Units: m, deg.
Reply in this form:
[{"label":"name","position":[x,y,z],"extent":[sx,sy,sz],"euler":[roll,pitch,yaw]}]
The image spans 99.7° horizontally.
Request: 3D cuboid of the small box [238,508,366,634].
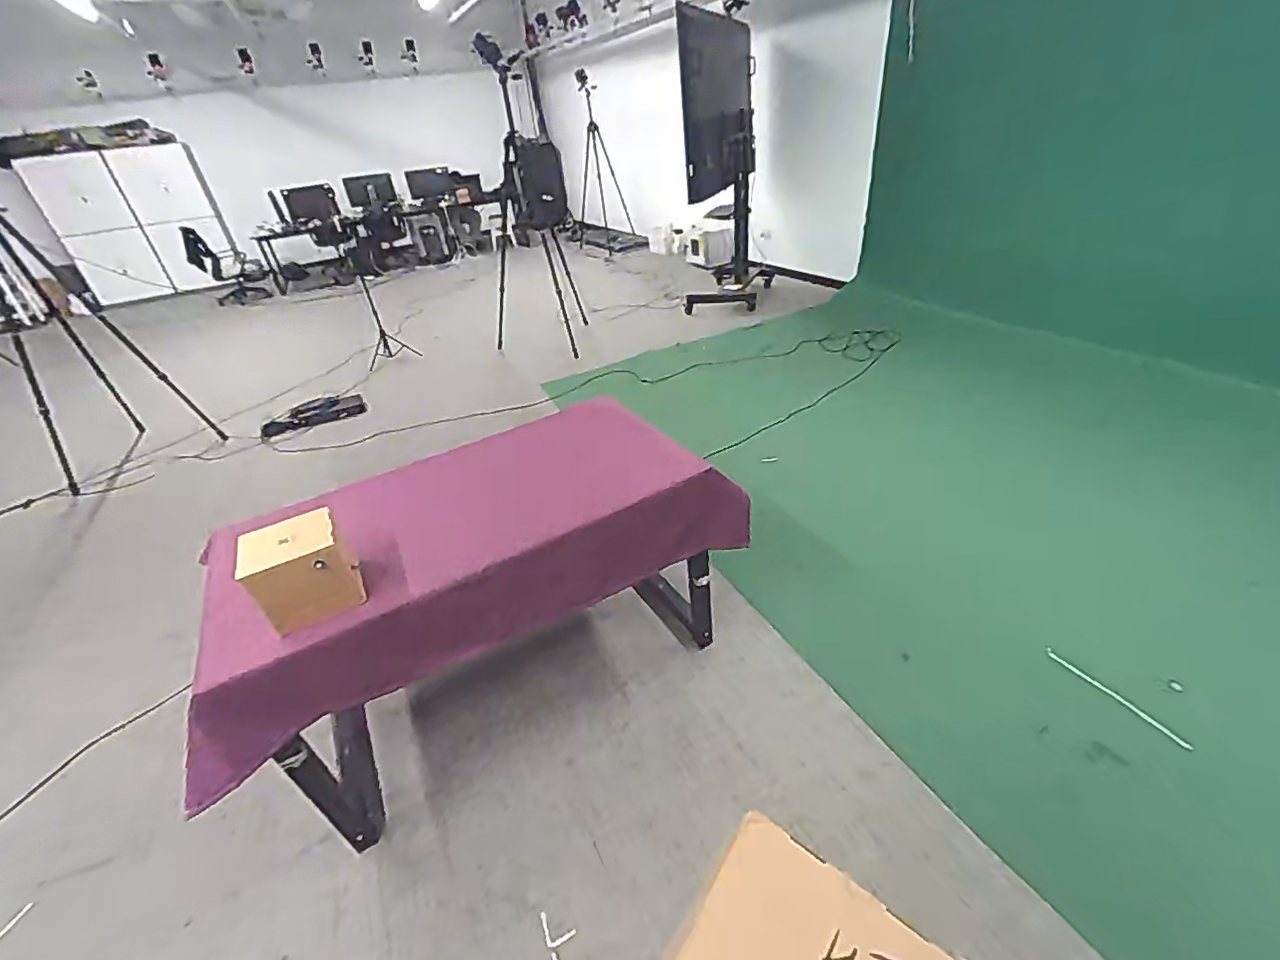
[{"label":"small box","position":[-0.710,0.192,1.146],"extent":[0.179,0.176,0.168],"euler":[-22,36,-23]}]
